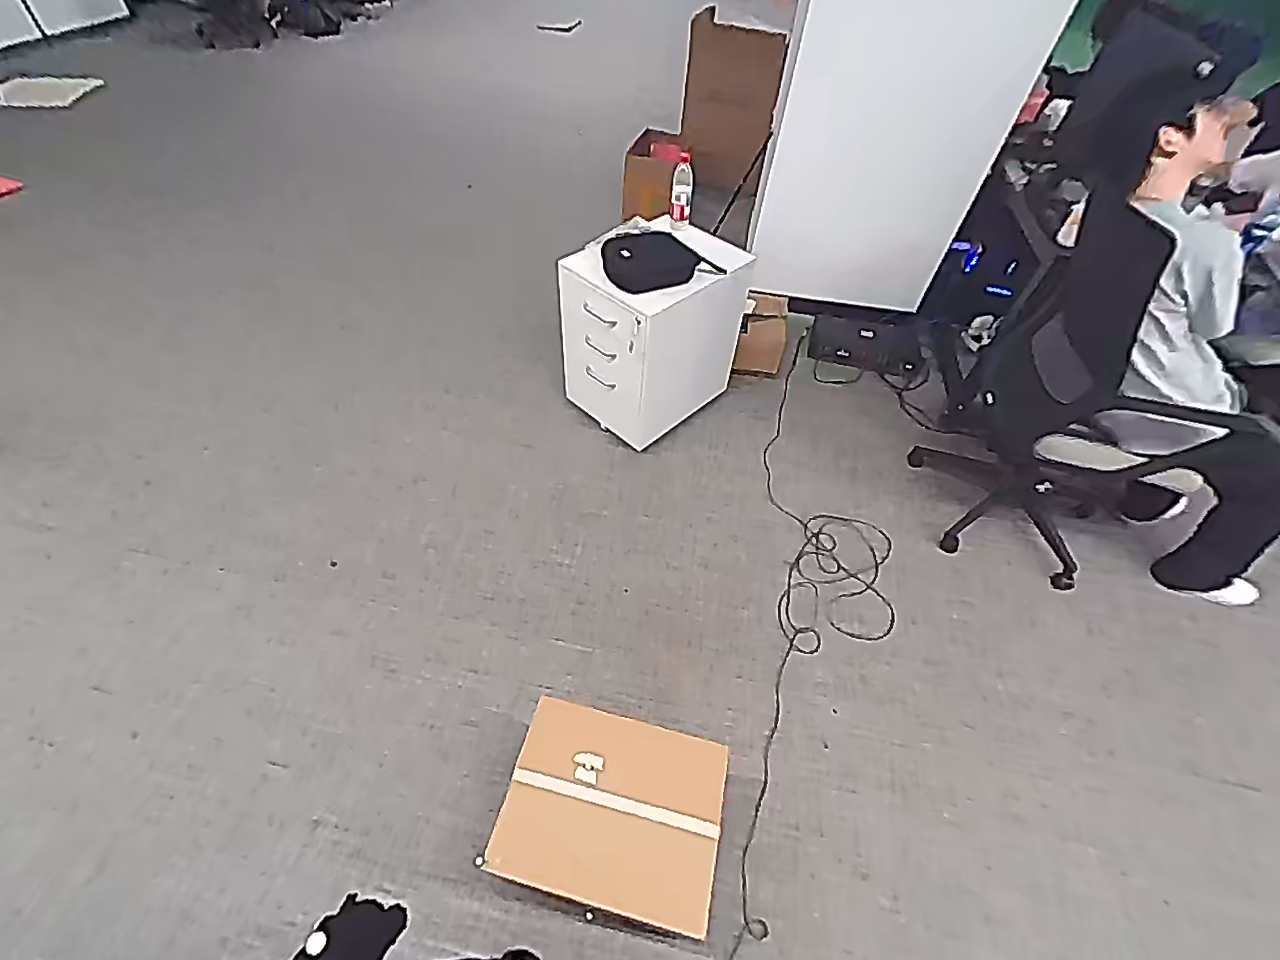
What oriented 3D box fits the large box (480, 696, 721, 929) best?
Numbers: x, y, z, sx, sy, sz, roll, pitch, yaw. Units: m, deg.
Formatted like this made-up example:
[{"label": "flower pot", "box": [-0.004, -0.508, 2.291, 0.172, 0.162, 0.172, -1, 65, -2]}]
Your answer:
[{"label": "large box", "box": [-0.064, 0.703, 1.144, 0.408, 0.320, 0.320, 12, 50, 7]}]
